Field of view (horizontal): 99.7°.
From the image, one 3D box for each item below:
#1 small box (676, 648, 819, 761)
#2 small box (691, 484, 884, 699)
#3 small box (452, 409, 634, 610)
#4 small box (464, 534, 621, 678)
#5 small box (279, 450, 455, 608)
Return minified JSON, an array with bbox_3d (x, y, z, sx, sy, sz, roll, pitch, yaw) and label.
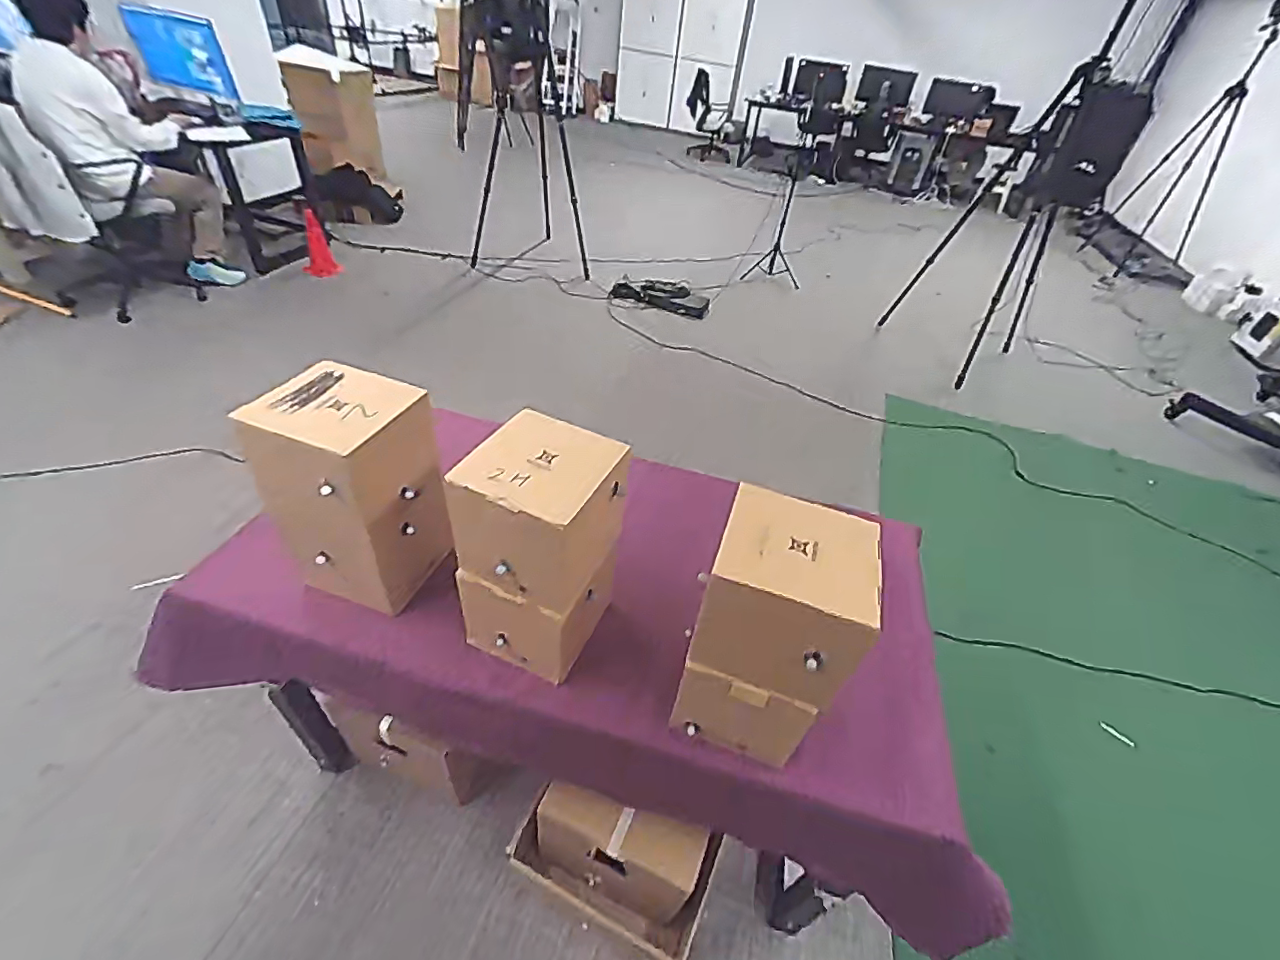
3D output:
[{"bbox_3d":[0.155,0.260,0.765,0.168,0.176,0.179,17,41,11],"label":"small box"},{"bbox_3d":[0.176,0.137,0.659,0.179,0.176,0.168,17,41,12],"label":"small box"},{"bbox_3d":[-0.124,0.038,0.727,0.168,0.176,0.179,21,43,15],"label":"small box"},{"bbox_3d":[-0.145,0.164,0.831,0.168,0.176,0.179,20,44,14],"label":"small box"},{"bbox_3d":[-0.427,0.081,0.878,0.179,0.176,0.168,16,43,11],"label":"small box"}]
